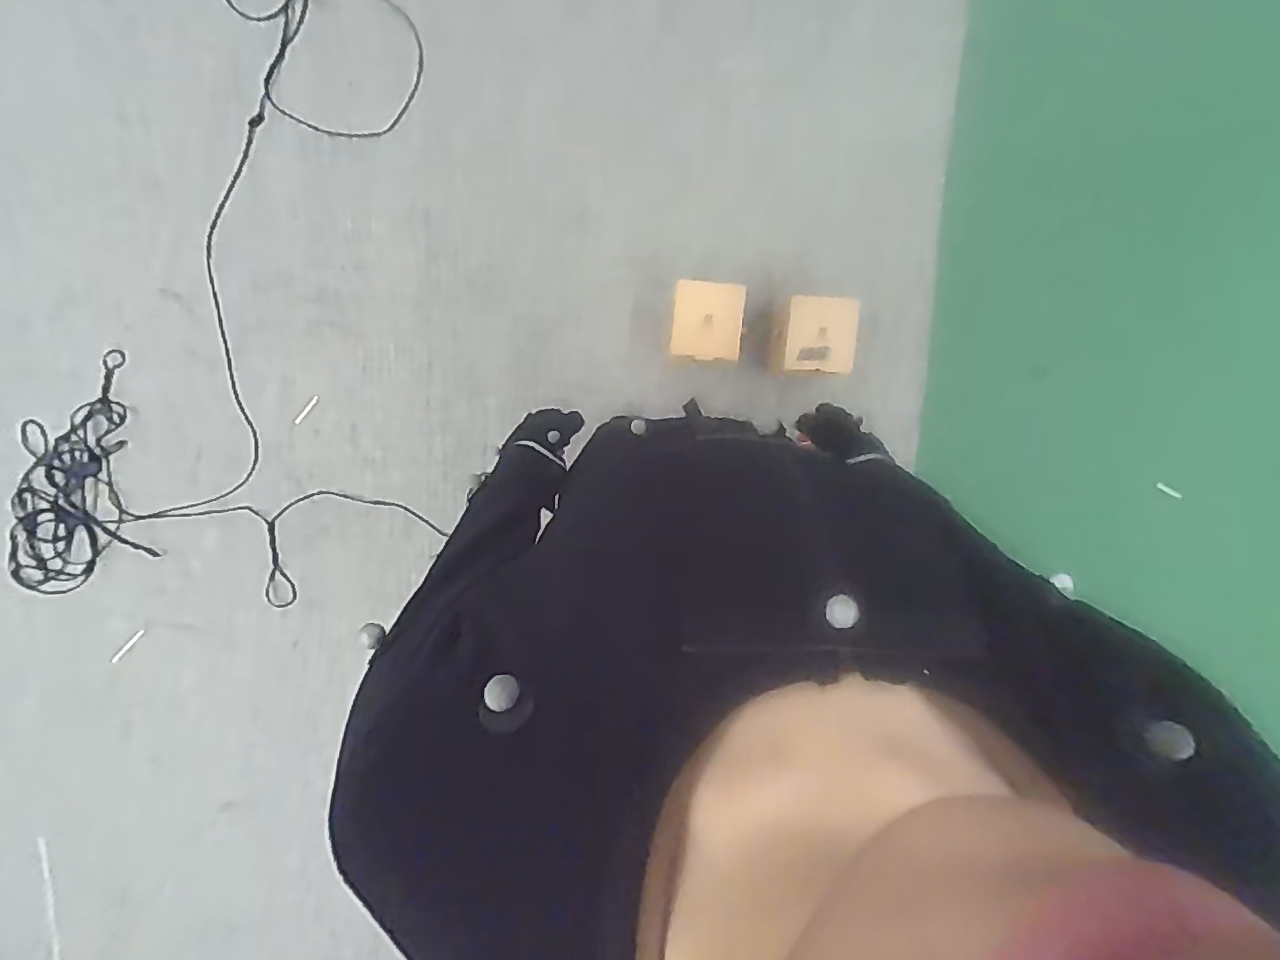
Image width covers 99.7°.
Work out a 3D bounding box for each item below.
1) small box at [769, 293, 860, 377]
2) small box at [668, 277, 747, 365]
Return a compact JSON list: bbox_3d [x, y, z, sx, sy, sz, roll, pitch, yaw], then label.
[{"bbox_3d":[0.427,-0.354,1.348,0.168,0.176,0.179,5,97,0],"label":"small box"},{"bbox_3d":[0.160,-0.388,1.345,0.168,0.176,0.179,5,98,-1],"label":"small box"}]
